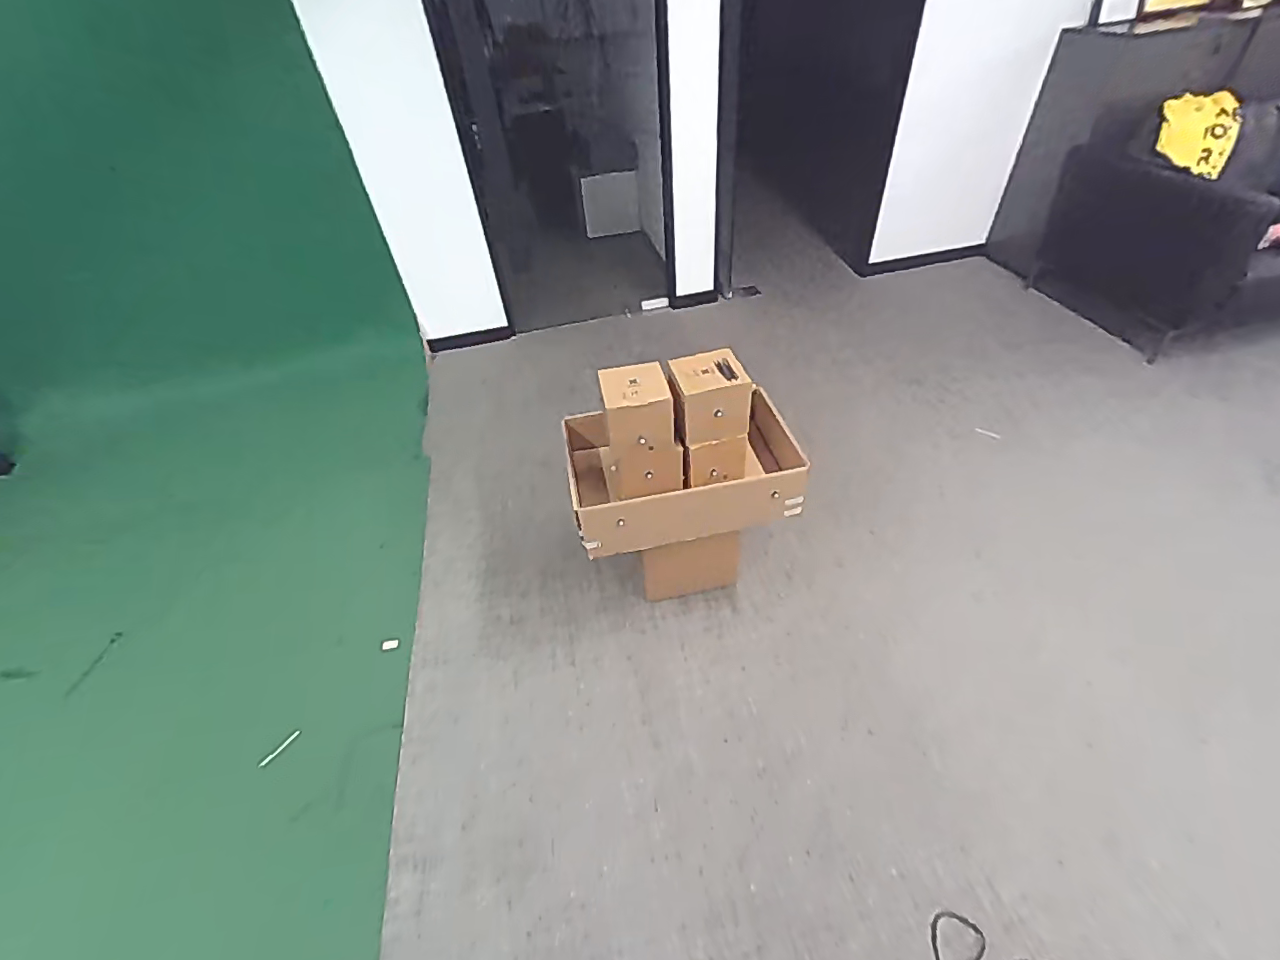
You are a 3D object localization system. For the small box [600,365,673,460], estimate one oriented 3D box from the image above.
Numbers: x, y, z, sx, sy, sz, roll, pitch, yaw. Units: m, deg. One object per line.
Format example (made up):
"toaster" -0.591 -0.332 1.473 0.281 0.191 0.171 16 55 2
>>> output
"small box" -0.009 -0.176 1.414 0.168 0.176 0.179 -9 44 -4
